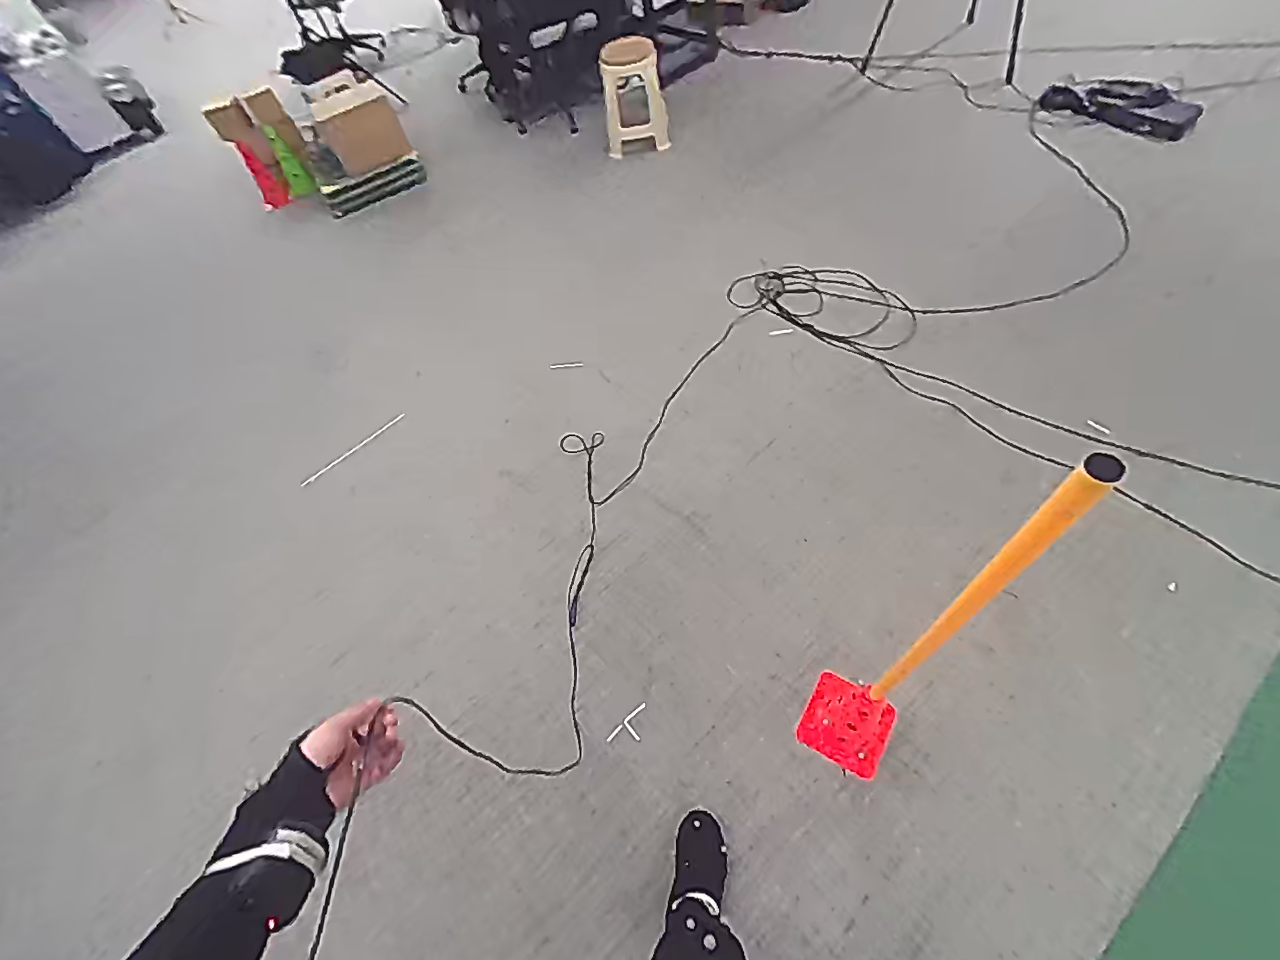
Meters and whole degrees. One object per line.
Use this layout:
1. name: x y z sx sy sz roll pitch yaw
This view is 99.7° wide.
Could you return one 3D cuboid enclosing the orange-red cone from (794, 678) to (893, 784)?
1. orange-red cone: 0.492 0.533 1.228 0.198 0.360 0.199 27 64 24
